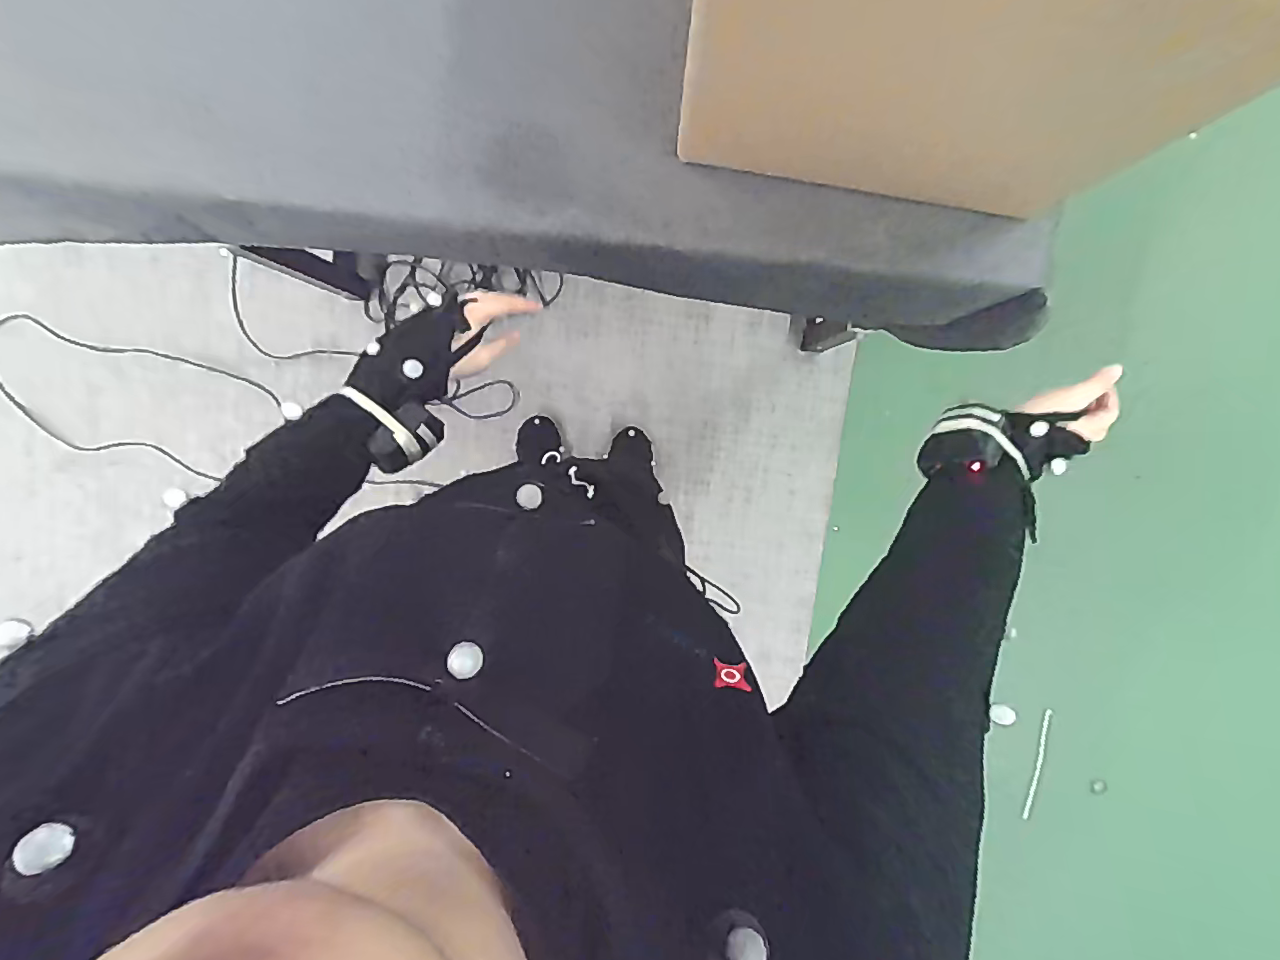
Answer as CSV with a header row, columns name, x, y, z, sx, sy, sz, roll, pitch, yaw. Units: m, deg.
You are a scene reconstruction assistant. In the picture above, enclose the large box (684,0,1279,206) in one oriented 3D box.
name,x,y,z,sx,sy,sz,roll,pitch,yaw
large box,0.263,-0.461,0.433,0.408,0.320,0.320,9,97,-2
